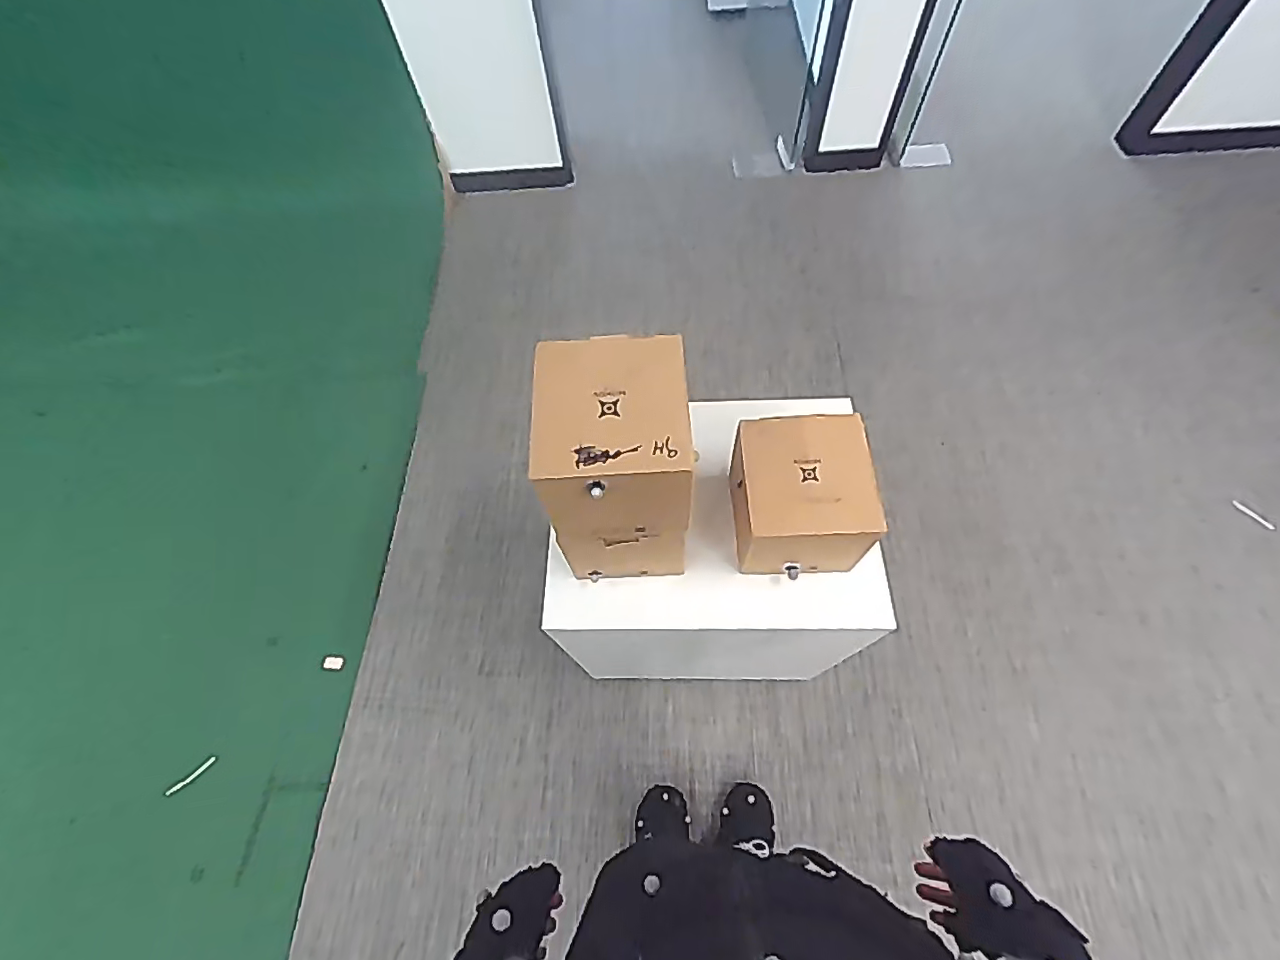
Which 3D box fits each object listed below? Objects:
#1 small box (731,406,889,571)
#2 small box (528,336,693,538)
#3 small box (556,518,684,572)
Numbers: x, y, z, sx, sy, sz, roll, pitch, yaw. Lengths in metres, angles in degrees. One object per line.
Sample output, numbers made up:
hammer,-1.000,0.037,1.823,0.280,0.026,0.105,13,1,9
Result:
small box,0.223,0.017,0.760,0.168,0.176,0.179,-4,65,4
small box,-0.028,-0.046,0.643,0.168,0.176,0.179,-4,62,2
small box,-0.022,0.029,0.787,0.168,0.176,0.179,-4,62,2
